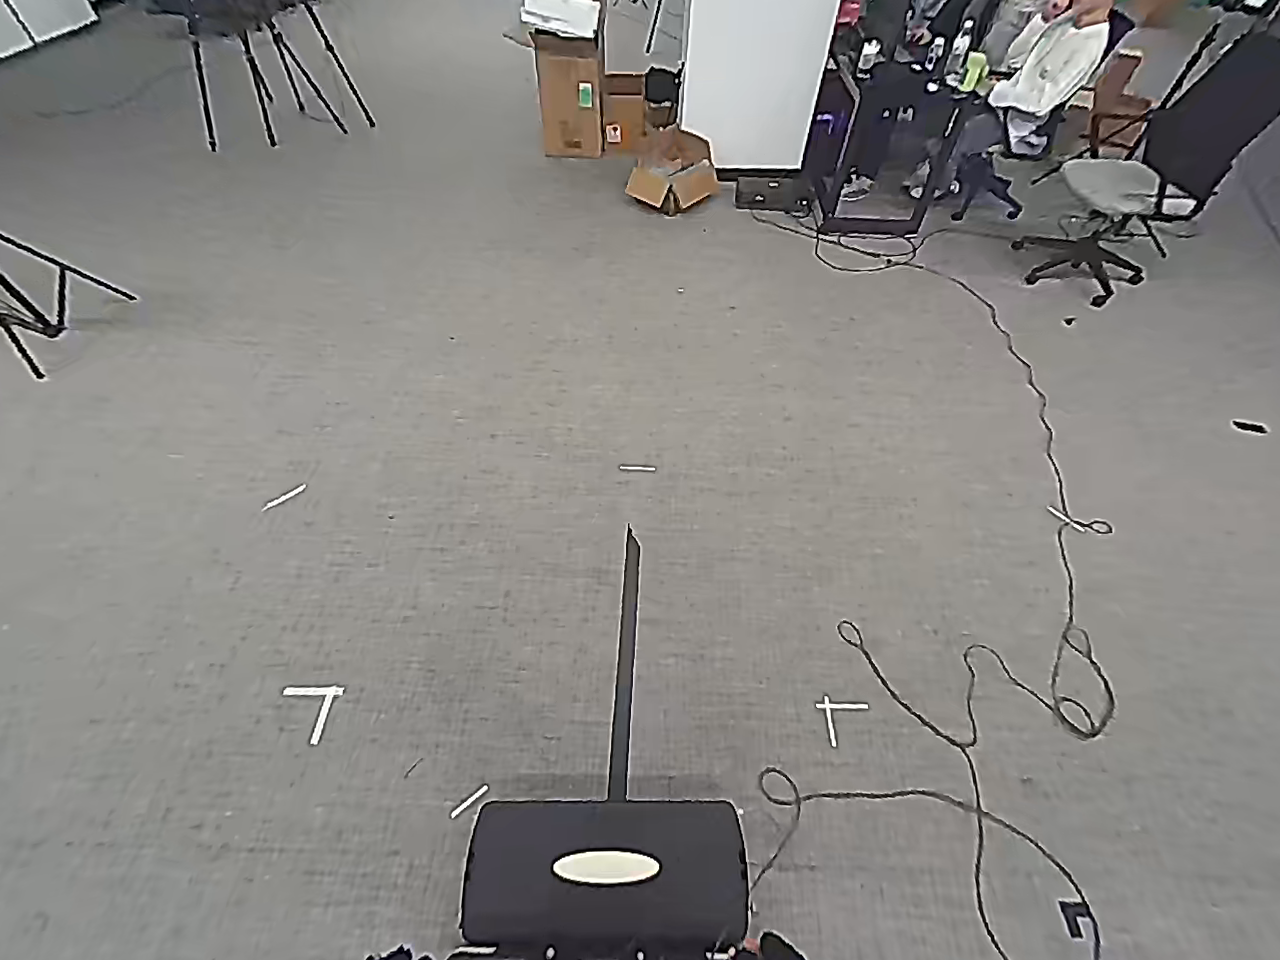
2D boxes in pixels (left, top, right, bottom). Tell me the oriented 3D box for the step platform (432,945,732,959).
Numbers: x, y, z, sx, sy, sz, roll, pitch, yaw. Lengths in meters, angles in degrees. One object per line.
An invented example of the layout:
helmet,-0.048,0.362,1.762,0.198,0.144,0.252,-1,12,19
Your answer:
step platform,-0.122,1.139,1.093,0.684,0.204,0.286,0,52,1
